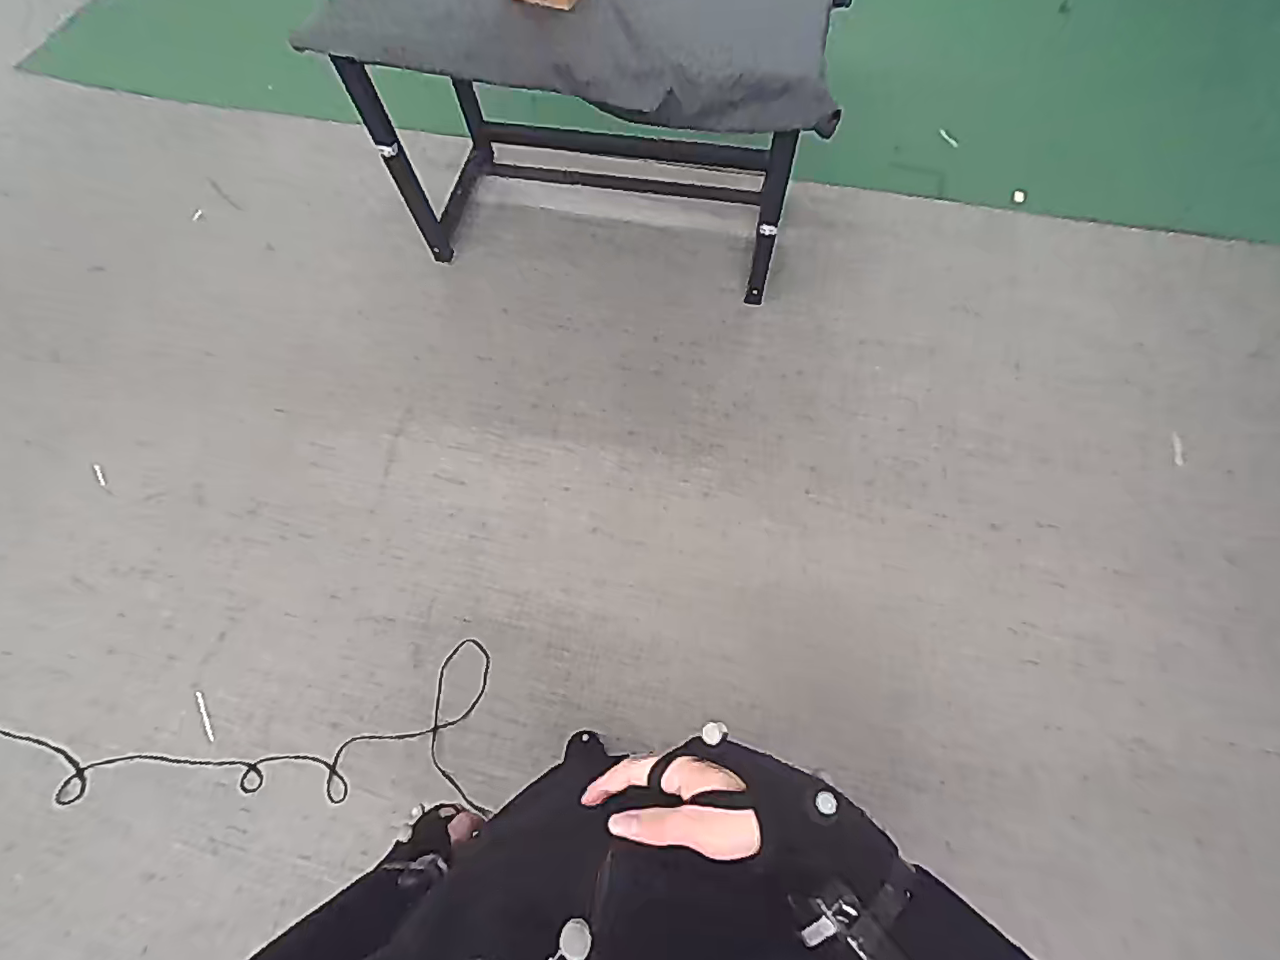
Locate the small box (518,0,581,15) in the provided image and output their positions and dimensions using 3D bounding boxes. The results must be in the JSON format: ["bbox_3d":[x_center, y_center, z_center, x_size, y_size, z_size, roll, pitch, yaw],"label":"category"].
[{"bbox_3d":[-0.212,-1.239,1.265,0.168,0.176,0.179,20,70,10],"label":"small box"}]
